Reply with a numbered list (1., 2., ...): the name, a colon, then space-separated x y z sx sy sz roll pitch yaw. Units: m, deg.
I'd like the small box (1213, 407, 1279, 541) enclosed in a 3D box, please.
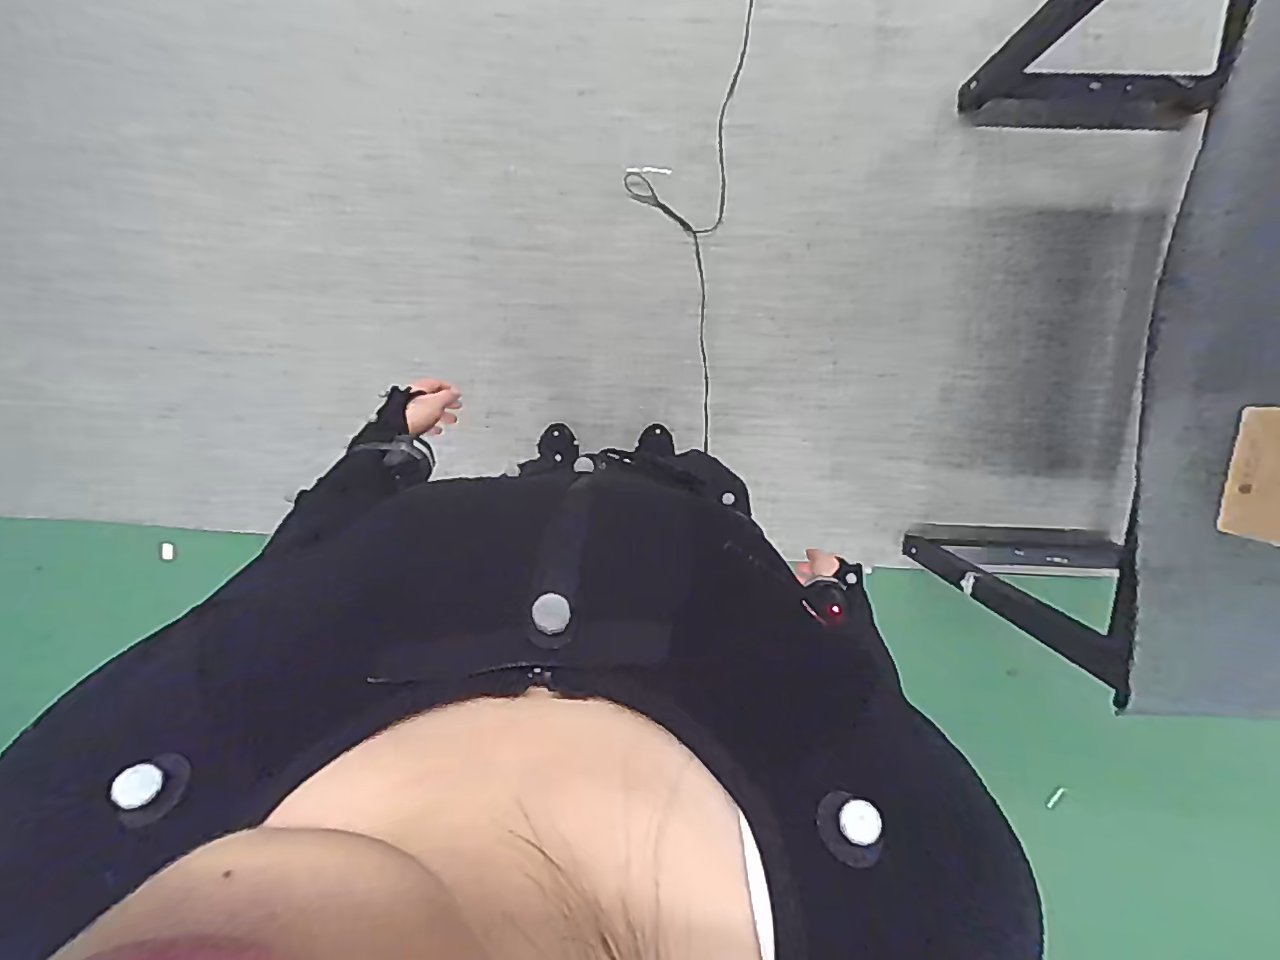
1. small box: 0.859 0.000 0.642 0.179 0.176 0.168 3 100 -1
